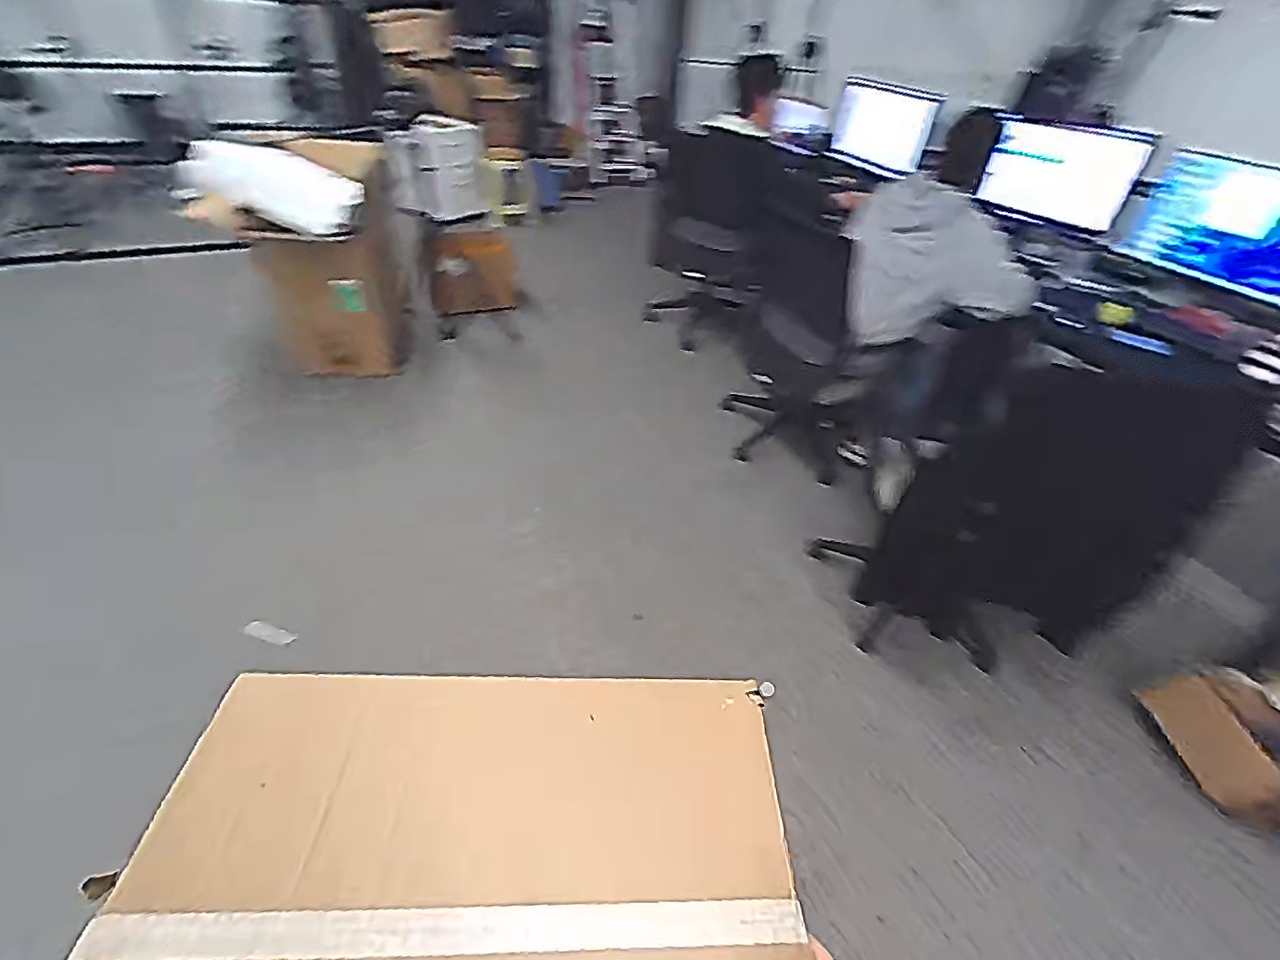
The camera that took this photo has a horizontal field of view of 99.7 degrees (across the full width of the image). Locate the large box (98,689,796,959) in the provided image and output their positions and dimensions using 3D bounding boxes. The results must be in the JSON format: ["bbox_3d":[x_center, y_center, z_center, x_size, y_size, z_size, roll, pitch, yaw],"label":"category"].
[{"bbox_3d":[-0.119,0.383,0.415,0.408,0.320,0.320,2,43,-6],"label":"large box"}]
